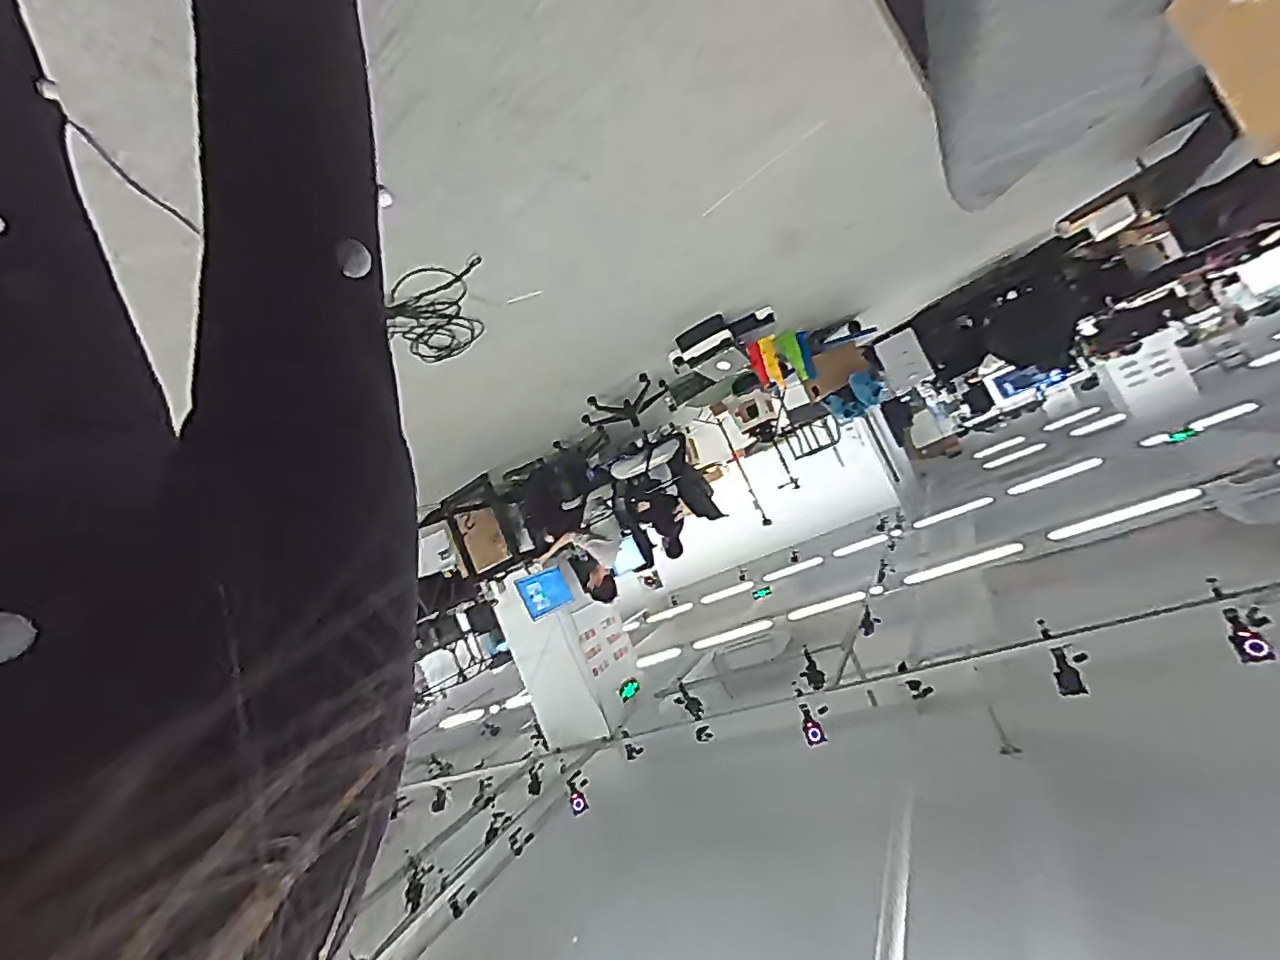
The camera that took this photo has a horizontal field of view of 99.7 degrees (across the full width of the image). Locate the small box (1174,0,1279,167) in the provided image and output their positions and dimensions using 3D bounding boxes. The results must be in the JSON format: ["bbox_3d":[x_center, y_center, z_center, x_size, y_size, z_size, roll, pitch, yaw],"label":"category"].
[{"bbox_3d":[0.532,-0.367,0.362,0.179,0.176,0.168,-26,174,28],"label":"small box"}]
